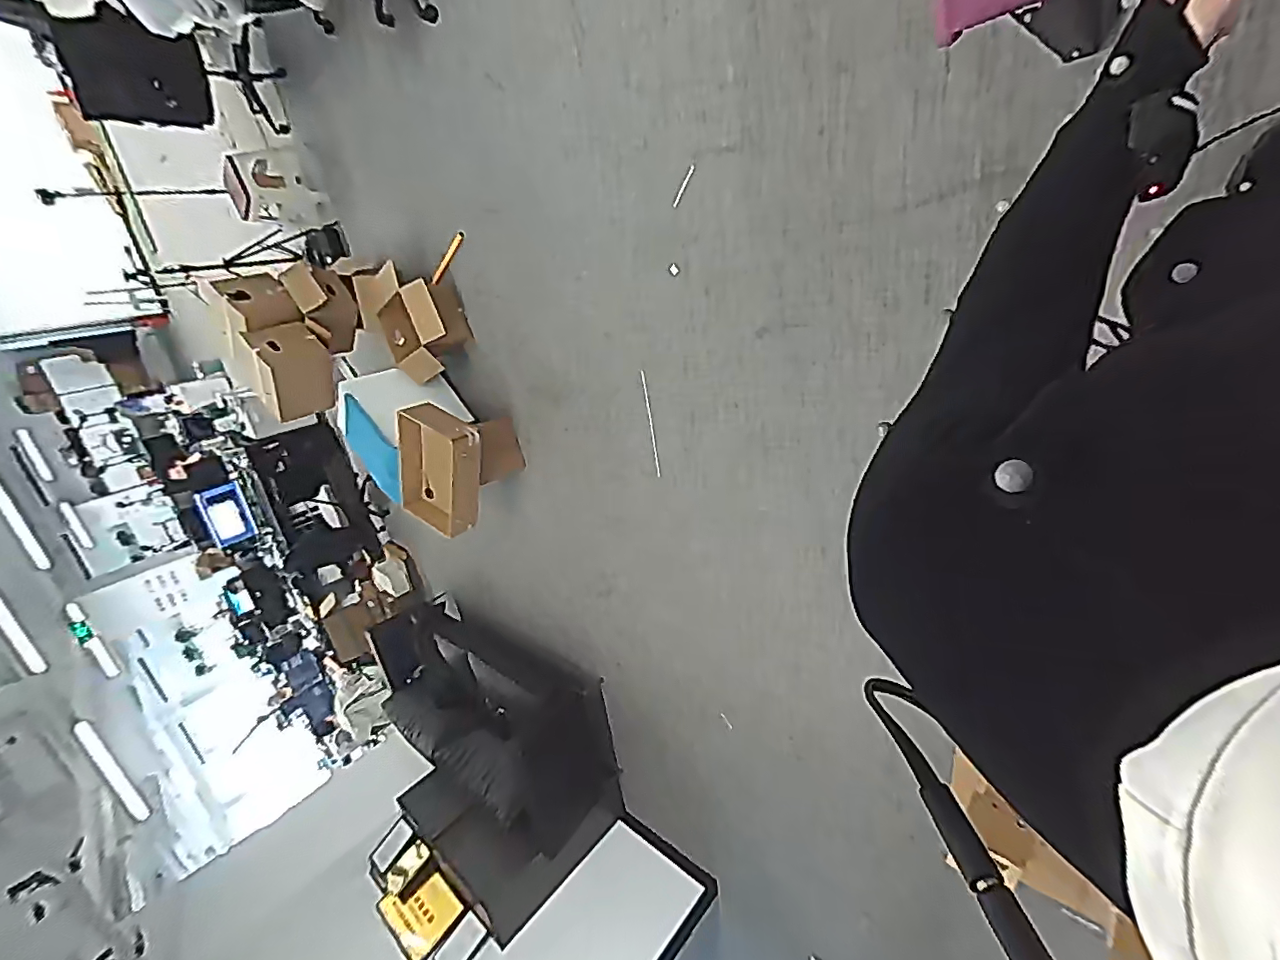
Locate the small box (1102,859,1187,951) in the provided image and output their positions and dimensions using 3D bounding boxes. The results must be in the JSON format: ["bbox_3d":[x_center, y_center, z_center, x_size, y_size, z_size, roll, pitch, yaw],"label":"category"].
[{"bbox_3d":[1.454,1.259,1.558,0.168,0.176,0.179,5,115,45],"label":"small box"}]

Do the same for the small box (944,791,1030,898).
[{"bbox_3d":[1.048,1.089,1.629,0.168,0.176,0.179,22,128,38],"label":"small box"}]

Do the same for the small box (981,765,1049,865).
[{"bbox_3d":[1.183,1.059,1.726,0.168,0.176,0.179,18,124,39],"label":"small box"}]

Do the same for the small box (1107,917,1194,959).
[{"bbox_3d":[1.358,1.336,1.444,0.168,0.176,0.179,7,117,46],"label":"small box"}]
